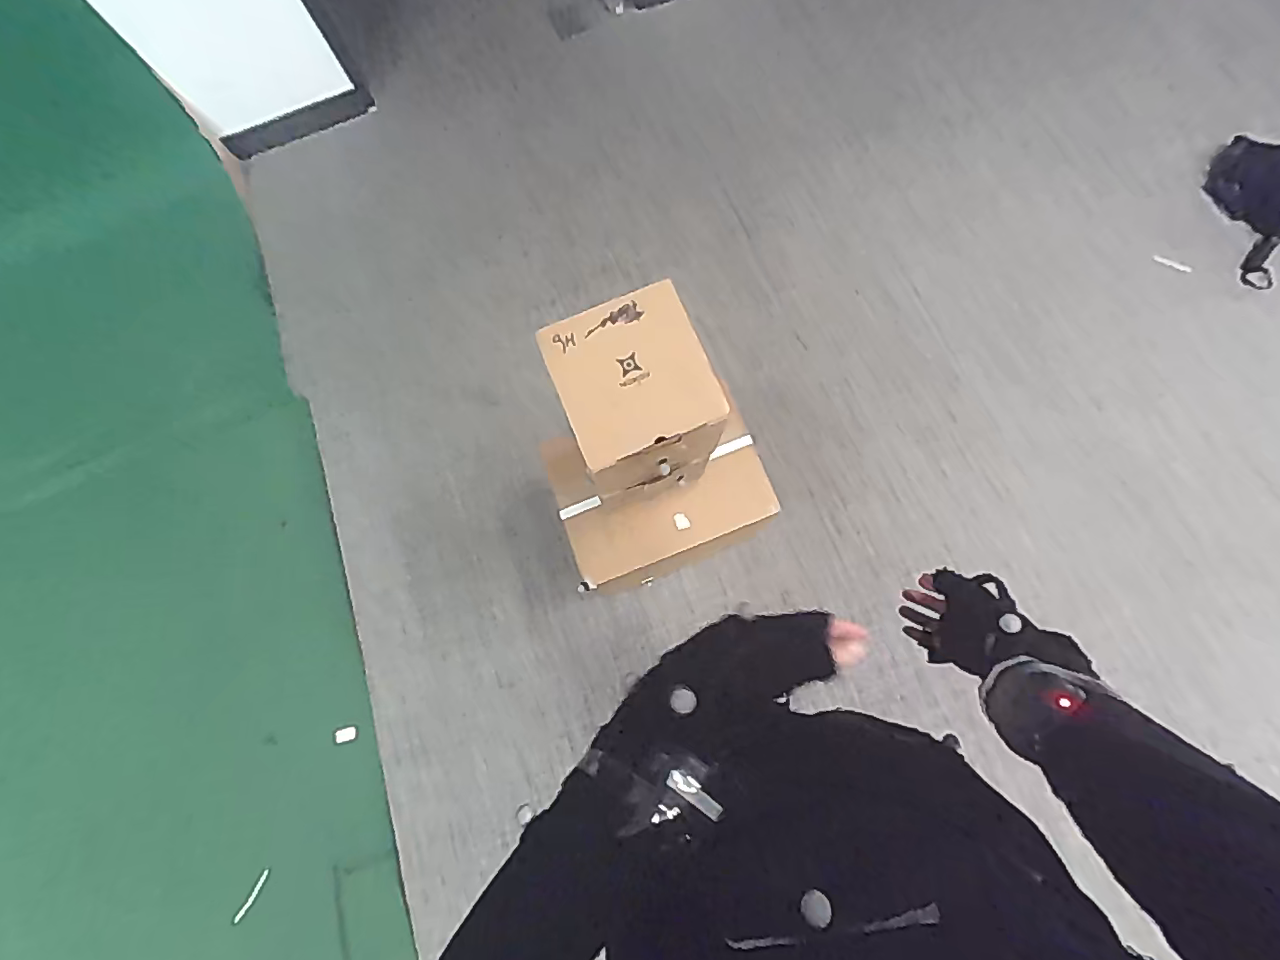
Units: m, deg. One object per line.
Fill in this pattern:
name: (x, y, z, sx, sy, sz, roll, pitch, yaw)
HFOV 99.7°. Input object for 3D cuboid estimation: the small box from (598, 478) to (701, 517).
small box: (0.002, -0.038, 0.991, 0.179, 0.176, 0.168, -15, 78, 0)

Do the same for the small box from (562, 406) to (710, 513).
small box: (-0.005, -0.058, 0.832, 0.168, 0.176, 0.179, -23, 79, -3)

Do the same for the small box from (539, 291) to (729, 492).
small box: (-0.004, -0.094, 0.673, 0.168, 0.176, 0.179, -22, 80, -2)
